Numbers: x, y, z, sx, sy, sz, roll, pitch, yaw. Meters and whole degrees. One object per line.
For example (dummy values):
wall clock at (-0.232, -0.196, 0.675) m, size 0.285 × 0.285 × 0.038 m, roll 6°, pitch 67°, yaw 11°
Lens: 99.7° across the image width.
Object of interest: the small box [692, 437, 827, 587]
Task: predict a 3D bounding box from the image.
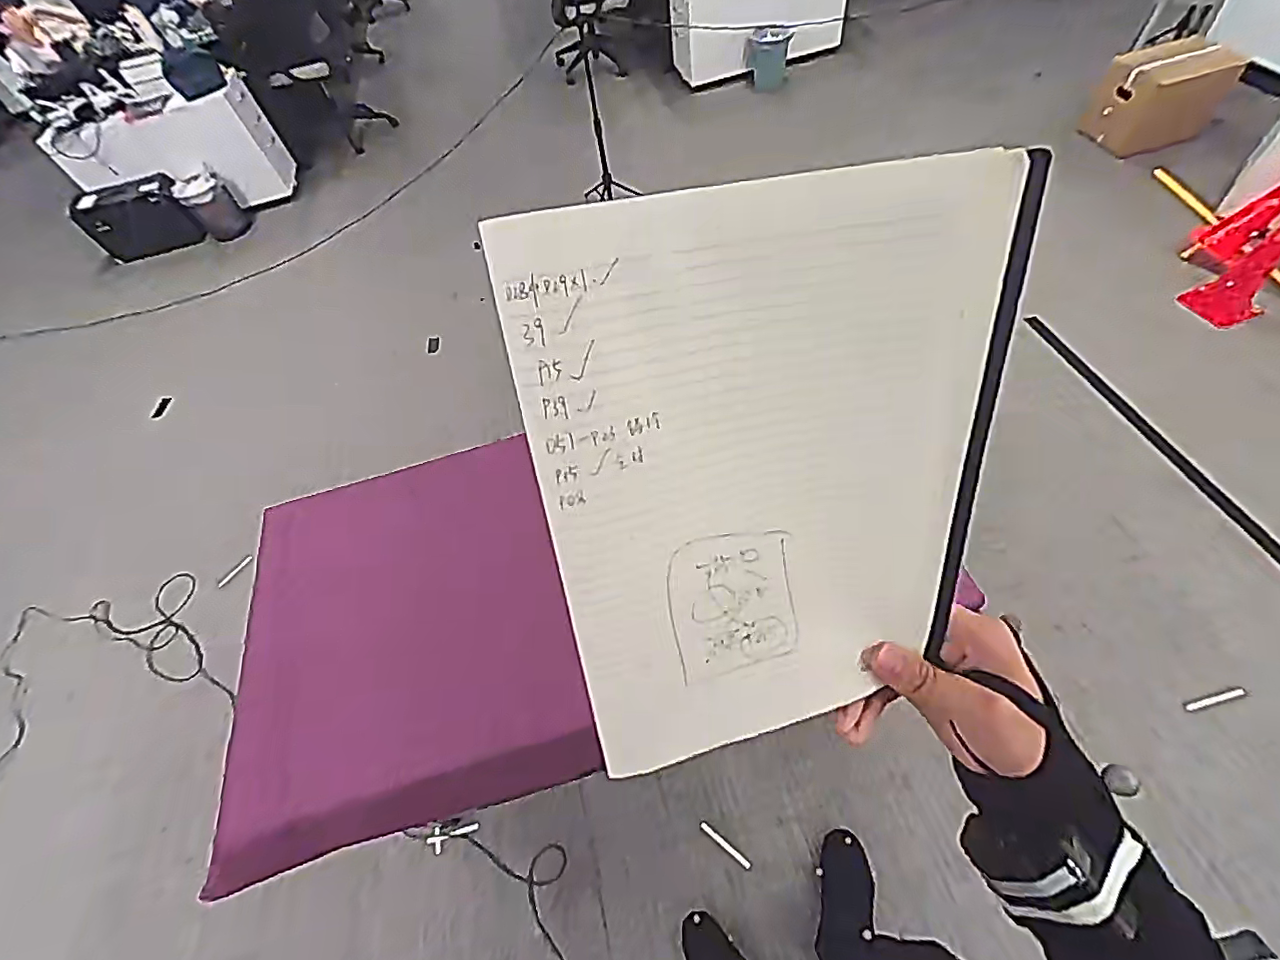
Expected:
small box at (0.186, 0.060, 0.876) m, size 0.168 × 0.176 × 0.179 m, roll -12°, pitch 55°, yaw 1°
